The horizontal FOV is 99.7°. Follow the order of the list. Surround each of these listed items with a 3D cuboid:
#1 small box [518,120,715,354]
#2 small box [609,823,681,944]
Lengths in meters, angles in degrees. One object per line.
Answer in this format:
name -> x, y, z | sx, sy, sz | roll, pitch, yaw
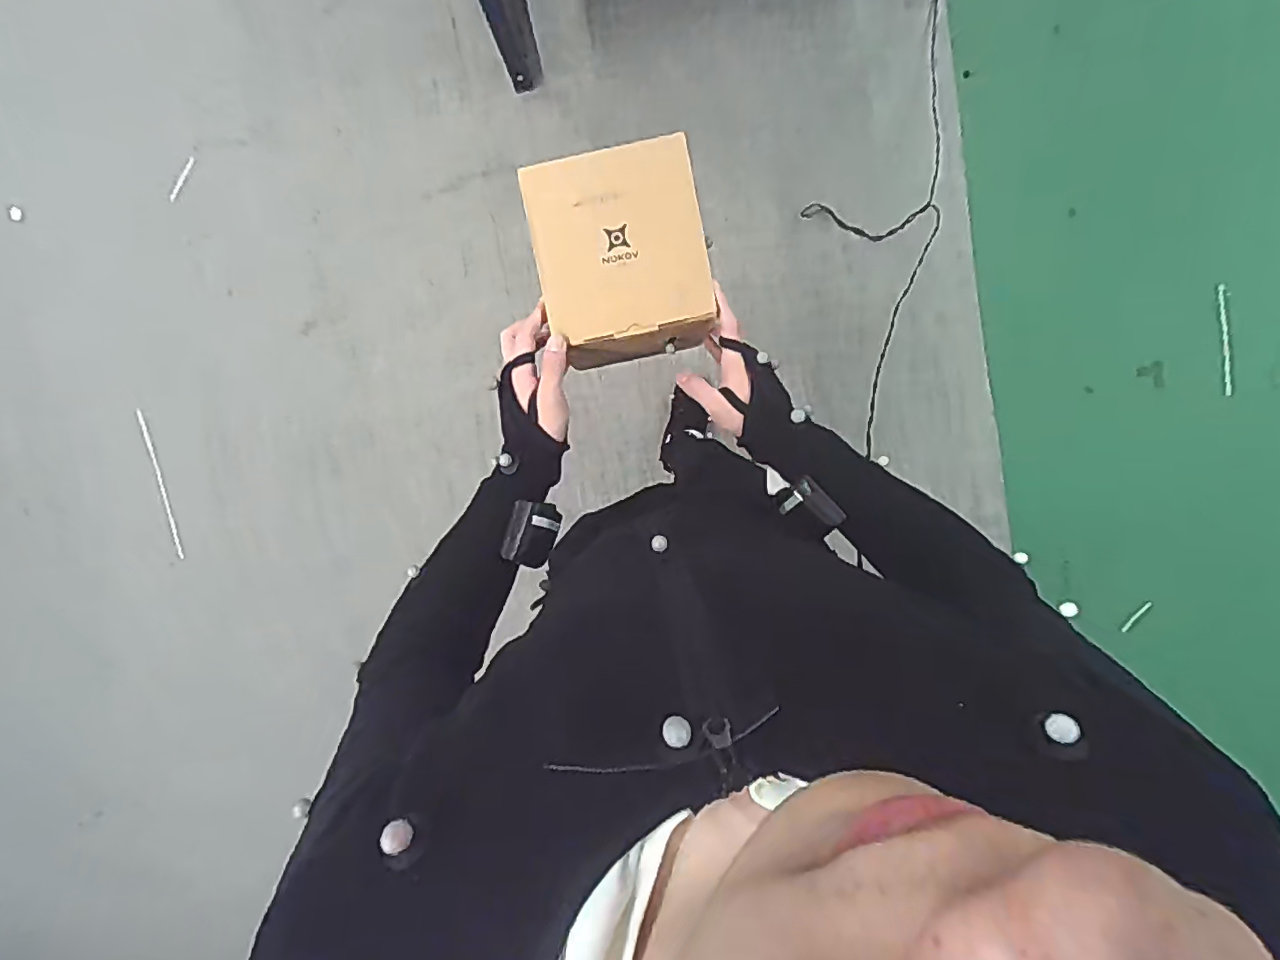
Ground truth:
small box -> -0.019, -0.243, 0.590 | 0.168, 0.176, 0.179 | -11, 94, 2
small box -> 0.012, 0.970, 1.312 | 0.168, 0.176, 0.179 | 0, 94, 2
